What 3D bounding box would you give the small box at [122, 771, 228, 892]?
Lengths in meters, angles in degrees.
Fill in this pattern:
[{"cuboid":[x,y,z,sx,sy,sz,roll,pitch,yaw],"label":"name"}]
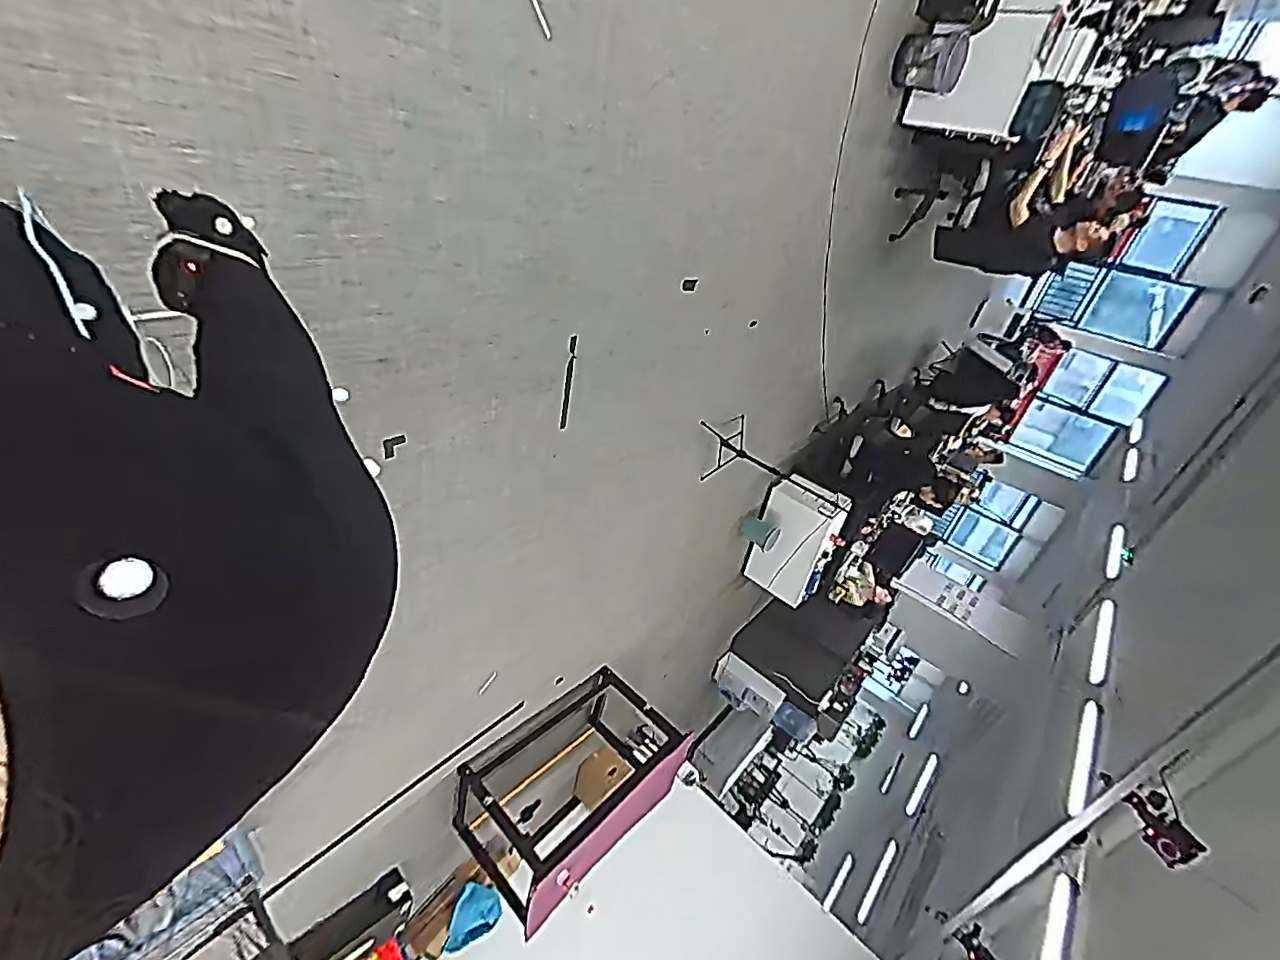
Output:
[{"cuboid":[-1.250,0.936,1.452,0.179,0.176,0.168,-22,136,-46],"label":"small box"}]
